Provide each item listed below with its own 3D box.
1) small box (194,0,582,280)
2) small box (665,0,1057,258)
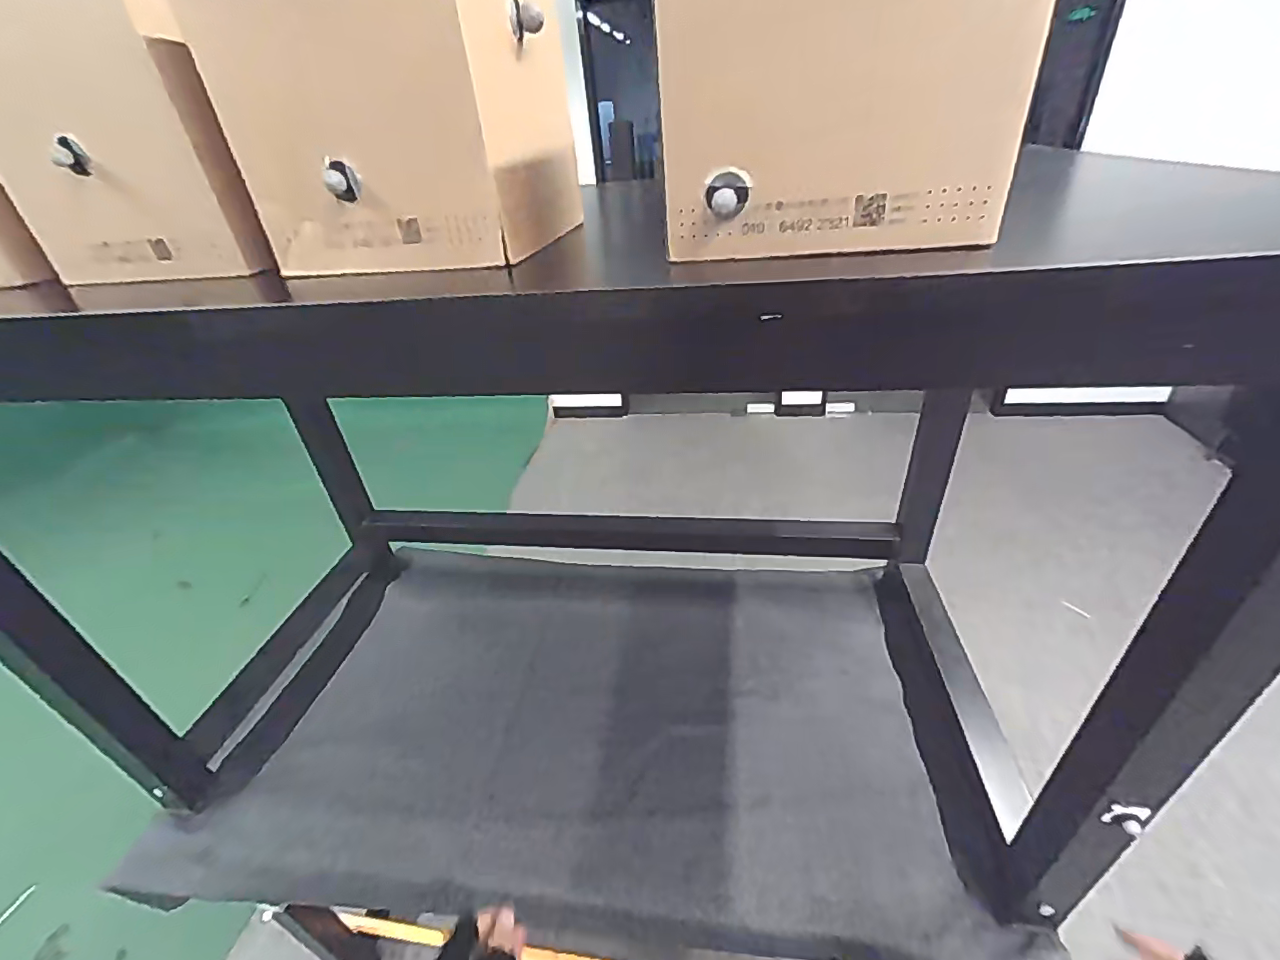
[{"bbox_3d":[-0.143,-0.242,0.369,0.168,0.176,0.179,2,34,11],"label":"small box"},{"bbox_3d":[0.109,-0.227,0.306,0.168,0.176,0.179,2,33,12],"label":"small box"}]
